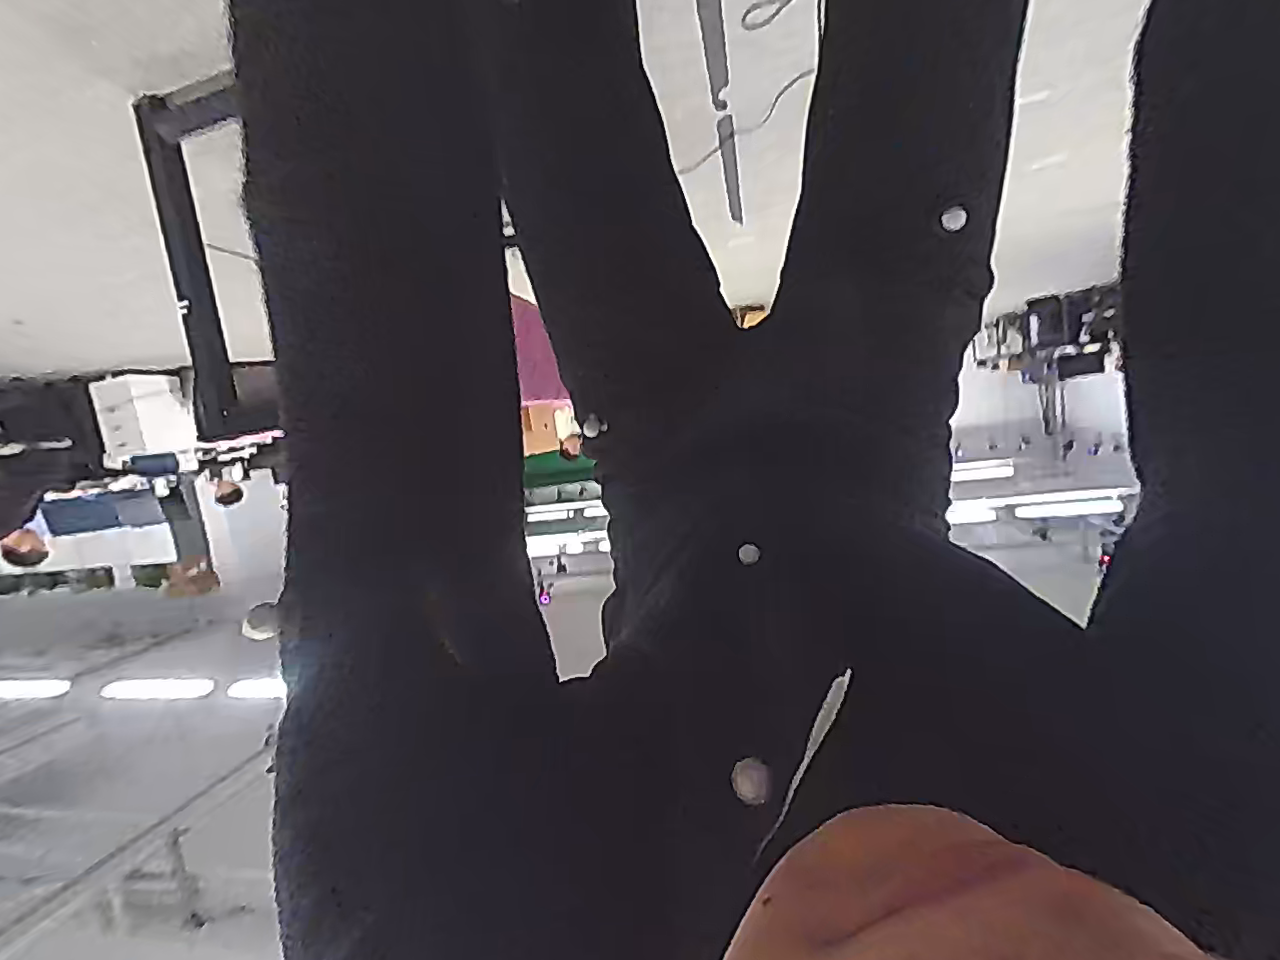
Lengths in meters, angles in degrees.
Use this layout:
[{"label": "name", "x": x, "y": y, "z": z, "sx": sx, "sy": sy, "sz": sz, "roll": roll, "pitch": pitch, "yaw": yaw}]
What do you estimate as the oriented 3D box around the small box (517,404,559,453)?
[{"label": "small box", "x": -0.425, "y": -0.188, "z": 1.984, "sx": 0.179, "sy": 0.176, "sz": 0.168, "roll": -5, "pitch": -173, "yaw": 23}]
